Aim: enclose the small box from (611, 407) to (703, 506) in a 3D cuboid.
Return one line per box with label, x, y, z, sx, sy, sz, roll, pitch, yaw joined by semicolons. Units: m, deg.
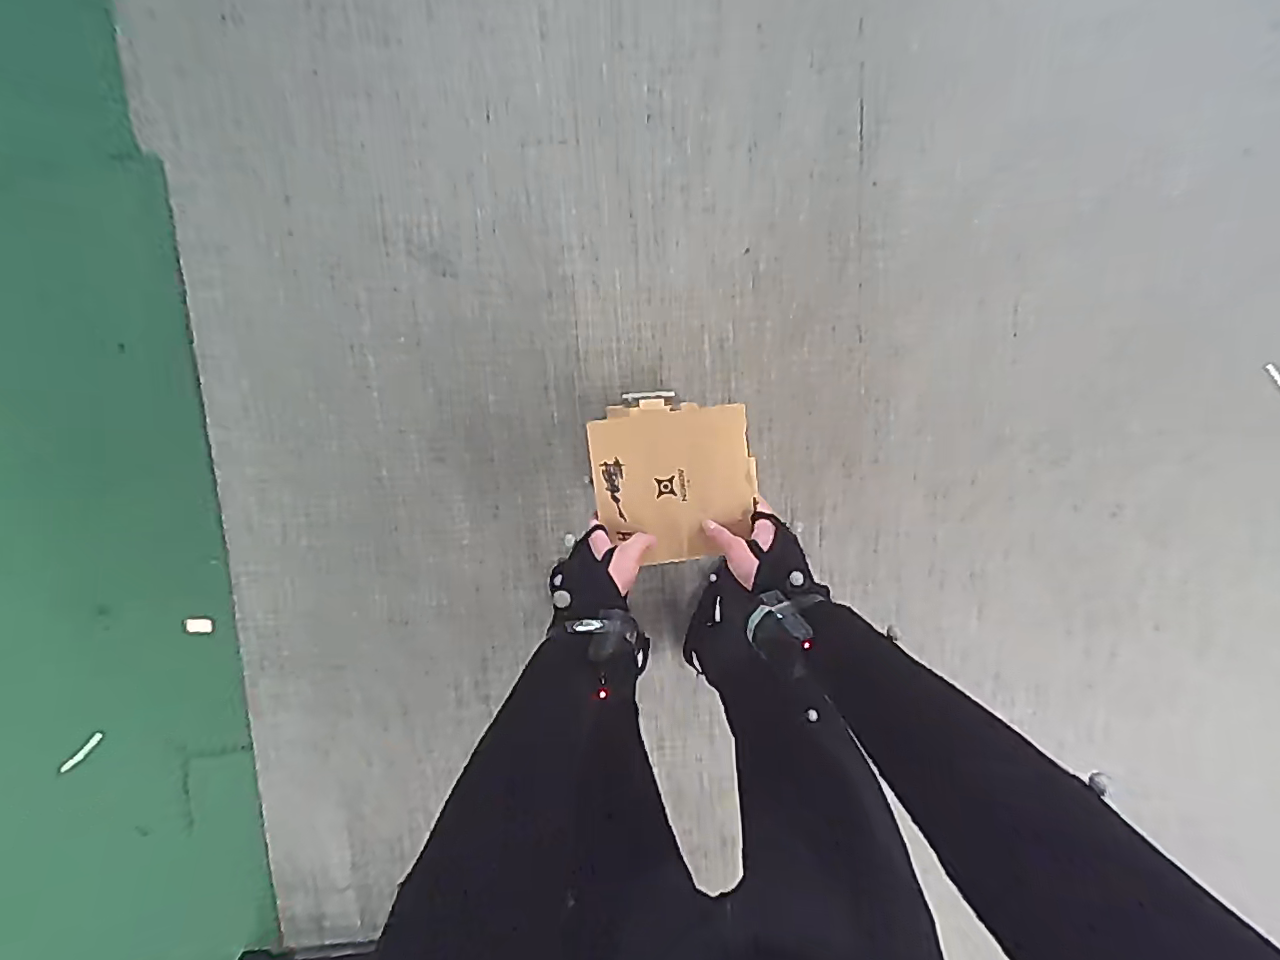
small box;0.027;-0.049;1.038;0.168;0.176;0.179;-1;97;-1
